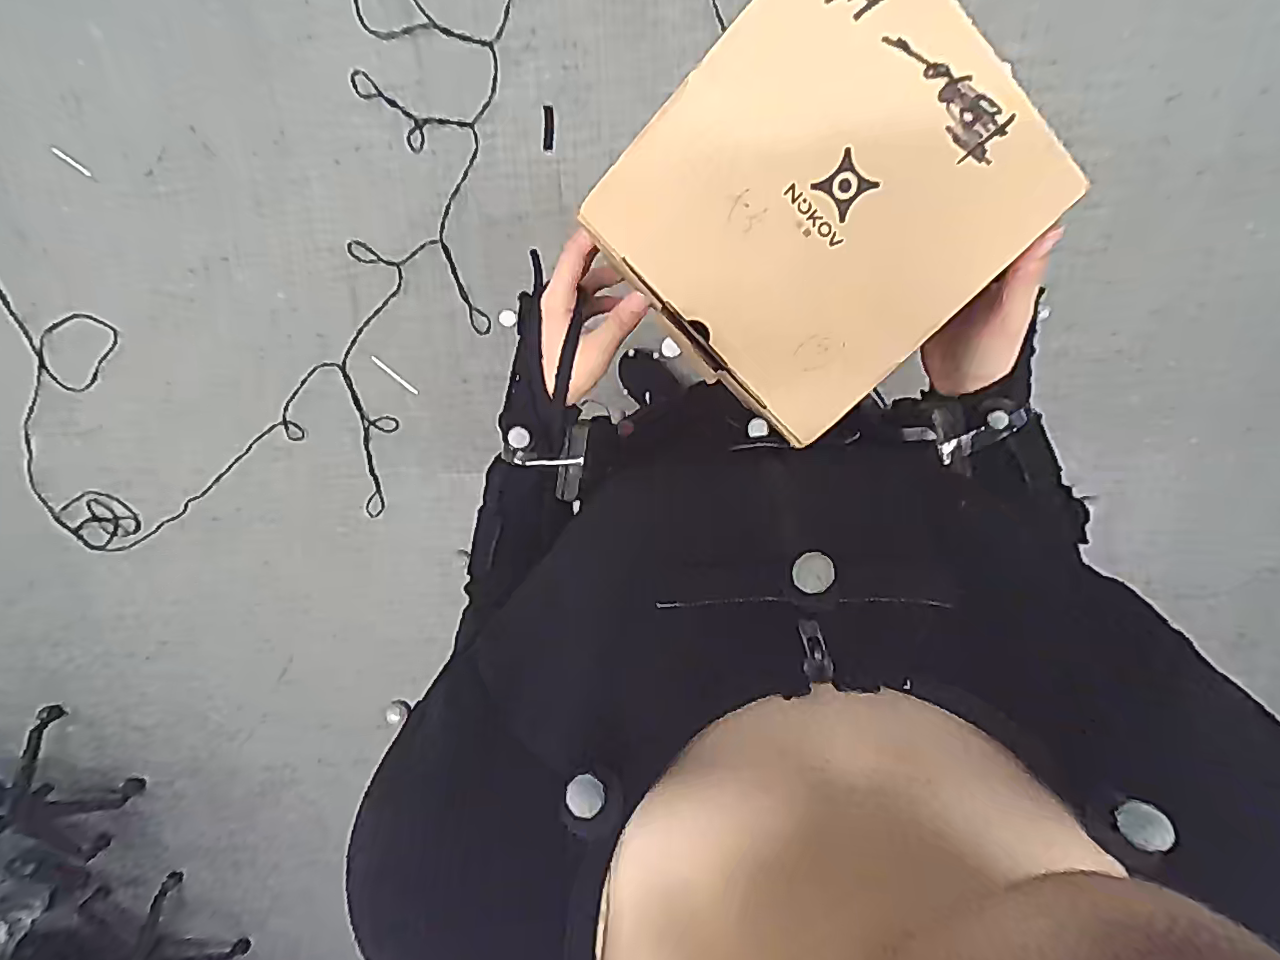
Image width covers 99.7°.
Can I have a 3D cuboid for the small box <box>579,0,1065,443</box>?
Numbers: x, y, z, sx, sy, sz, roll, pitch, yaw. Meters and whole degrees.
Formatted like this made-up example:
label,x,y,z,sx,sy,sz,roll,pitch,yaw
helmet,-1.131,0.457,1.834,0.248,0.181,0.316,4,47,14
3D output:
label,x,y,z,sx,sy,sz,roll,pitch,yaw
small box,0.089,-0.152,0.338,0.168,0.176,0.179,44,103,-10
